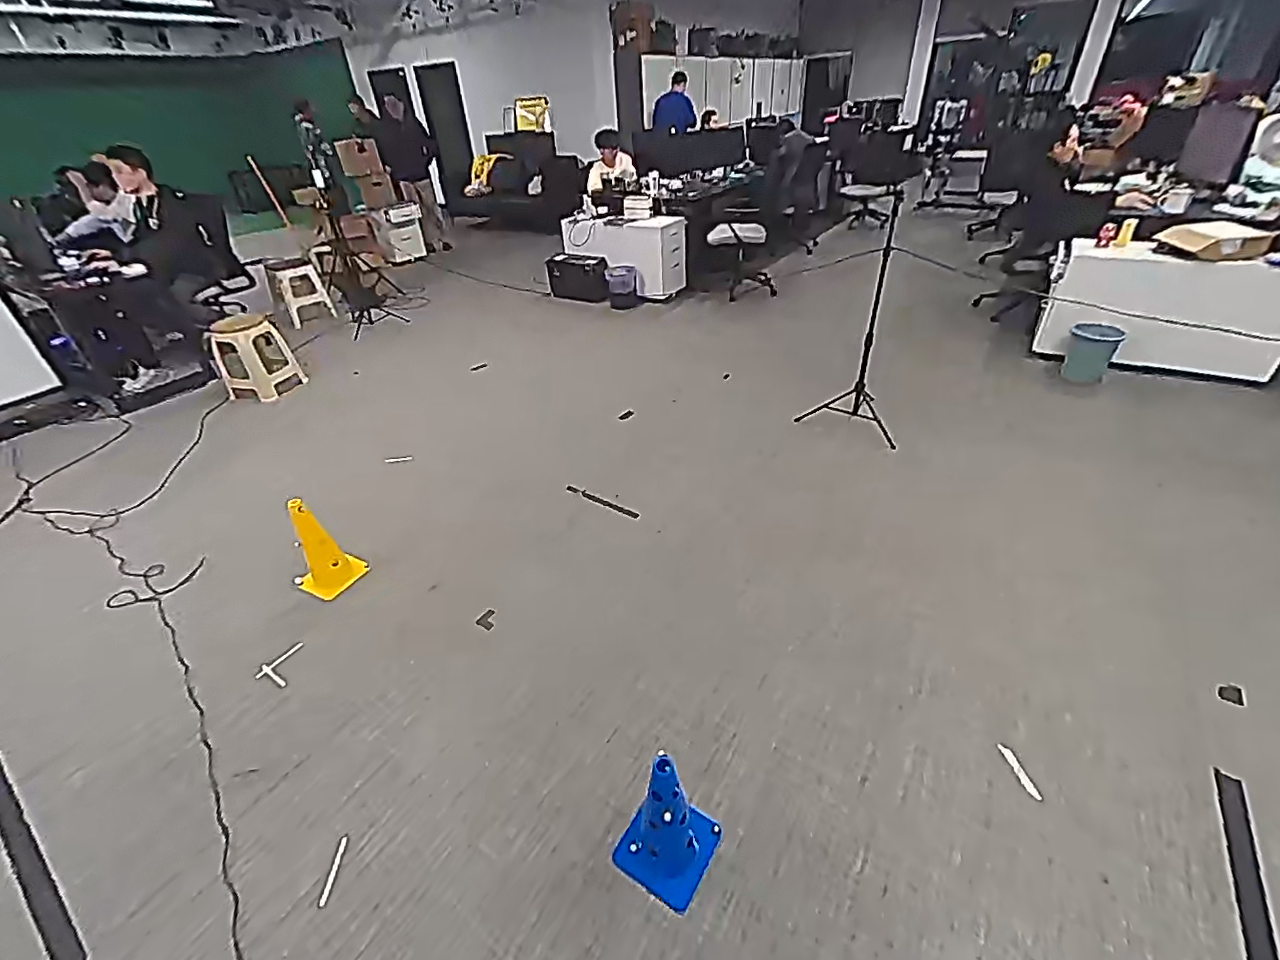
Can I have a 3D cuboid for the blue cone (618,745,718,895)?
[{"bbox_3d":[0.056,0.698,1.165,0.193,0.380,0.192,19,40,30],"label":"blue cone"}]
